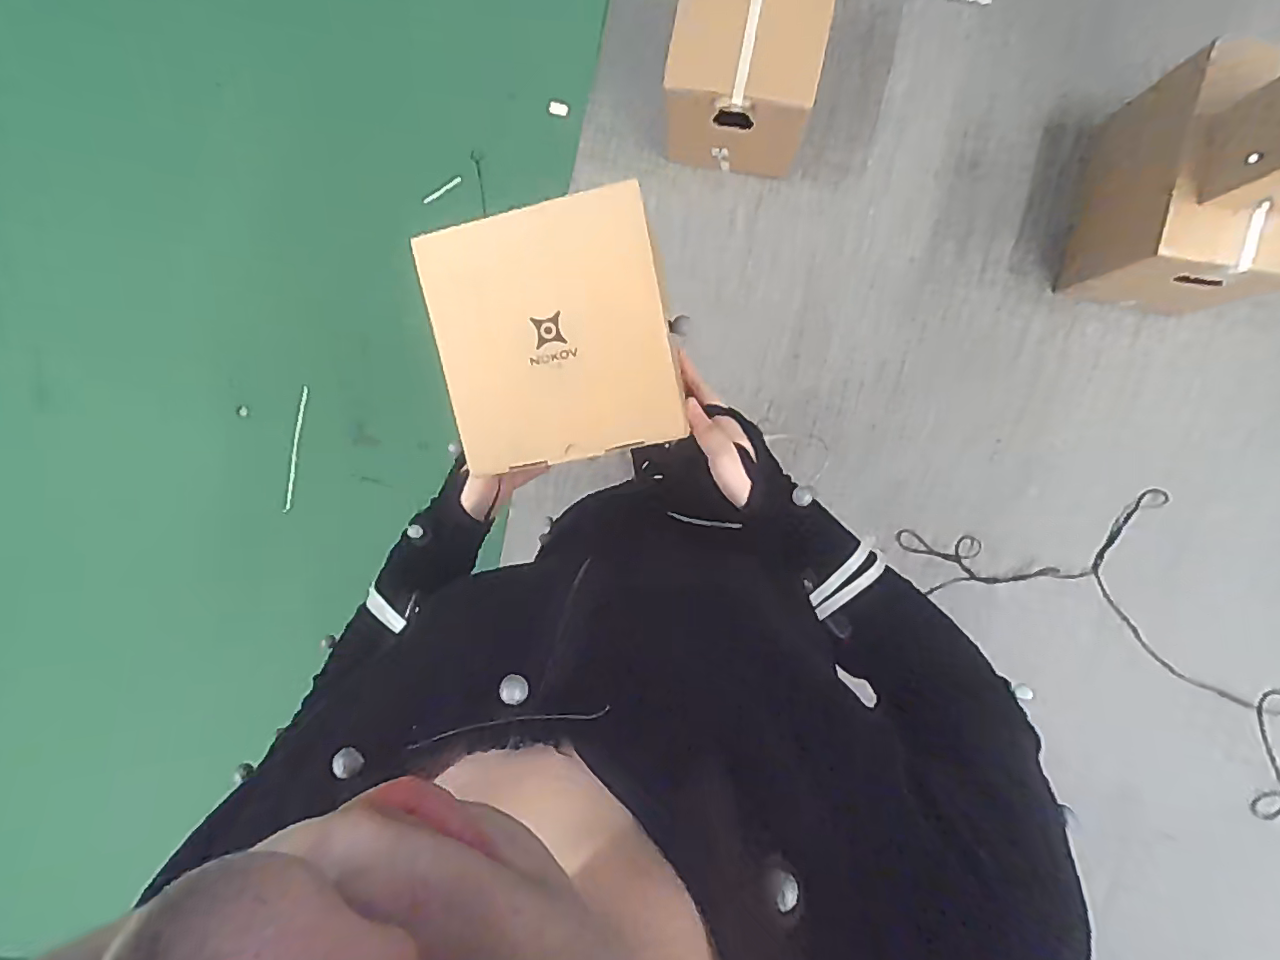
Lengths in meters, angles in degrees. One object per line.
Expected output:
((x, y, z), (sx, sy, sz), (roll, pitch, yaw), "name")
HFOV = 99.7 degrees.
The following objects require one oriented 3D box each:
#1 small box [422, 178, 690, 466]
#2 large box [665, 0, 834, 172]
((-0.052, -0.120, 0.462), (0.168, 0.176, 0.179), (-10, 100, 8), "small box")
((0.249, -0.986, 1.225), (0.320, 0.320, 0.408), (12, 96, 4), "large box")
